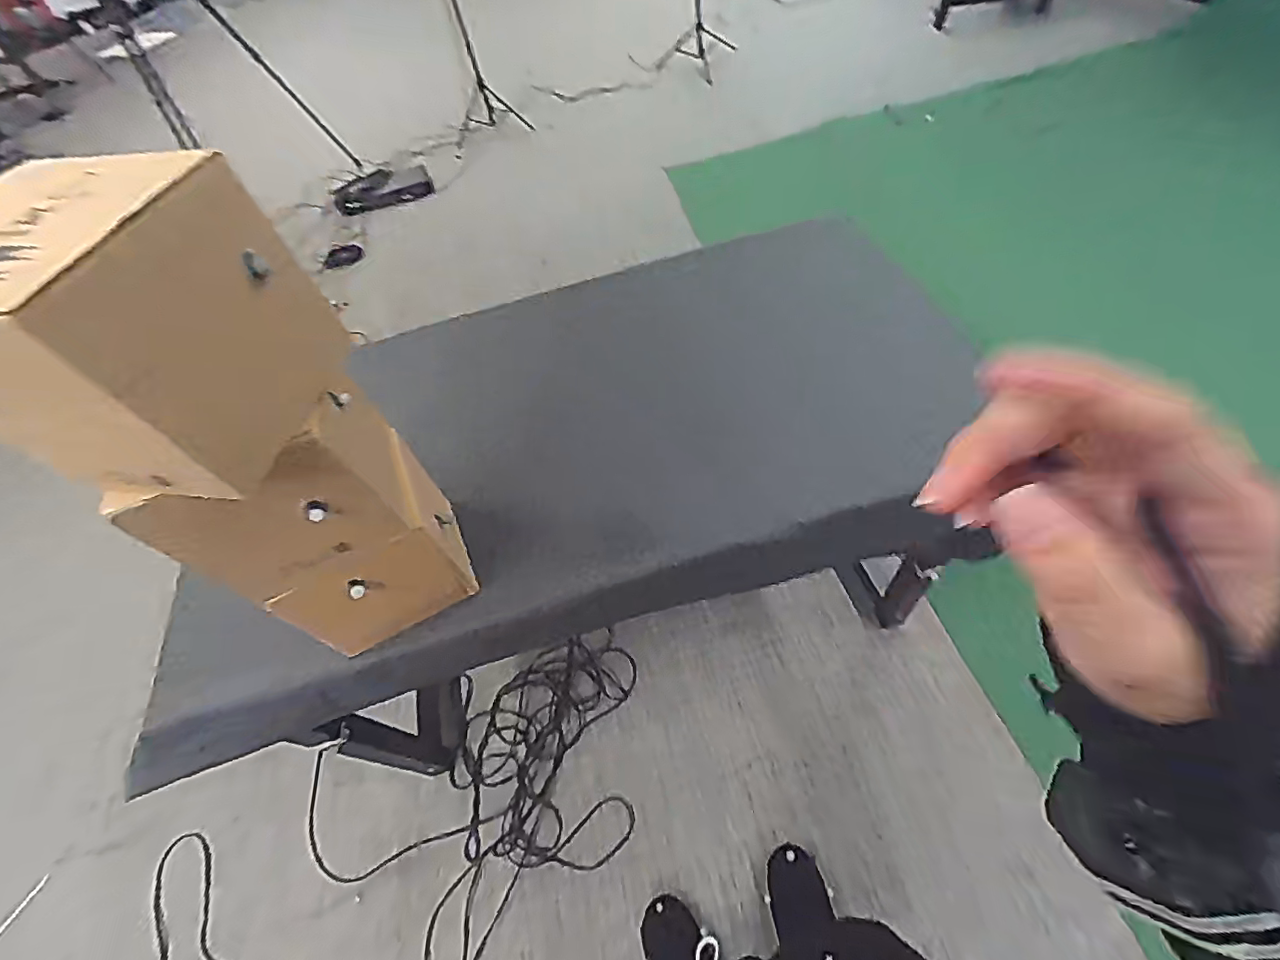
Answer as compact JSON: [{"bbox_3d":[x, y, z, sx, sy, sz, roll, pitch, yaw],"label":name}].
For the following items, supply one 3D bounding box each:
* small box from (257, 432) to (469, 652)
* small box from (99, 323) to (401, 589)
[{"bbox_3d":[-0.328,0.080,0.660,0.179,0.176,0.168,-27,55,-9],"label":"small box"},{"bbox_3d":[-0.357,-0.014,0.530,0.168,0.176,0.179,-24,53,-9],"label":"small box"}]
